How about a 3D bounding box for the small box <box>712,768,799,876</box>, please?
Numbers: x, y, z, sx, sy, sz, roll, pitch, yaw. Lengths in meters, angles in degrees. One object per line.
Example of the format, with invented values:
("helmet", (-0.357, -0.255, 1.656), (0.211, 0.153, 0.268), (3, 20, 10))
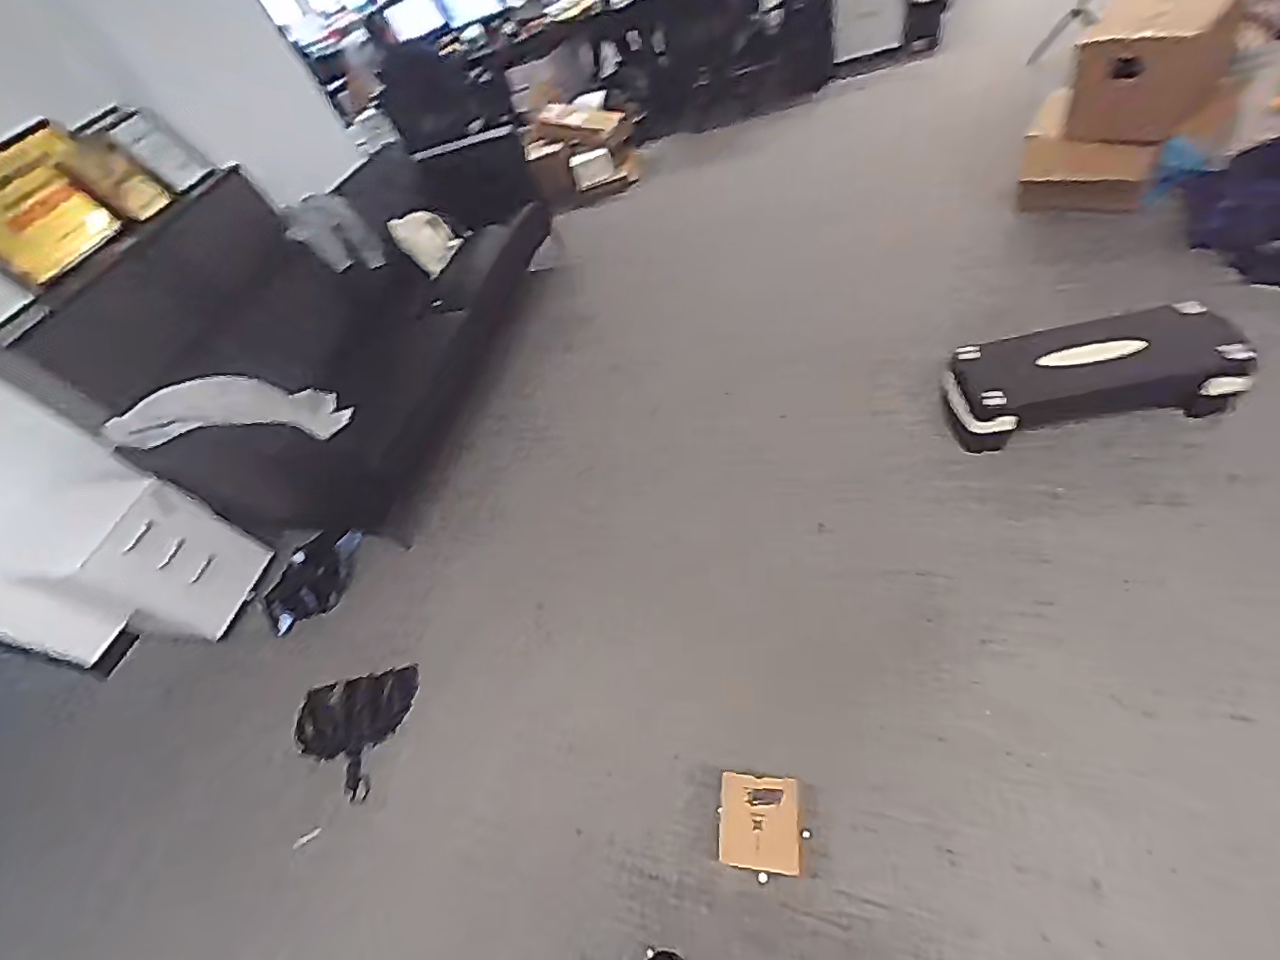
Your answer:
("small box", (0.265, 0.771, 1.219), (0.168, 0.176, 0.179), (-4, 53, 20))
